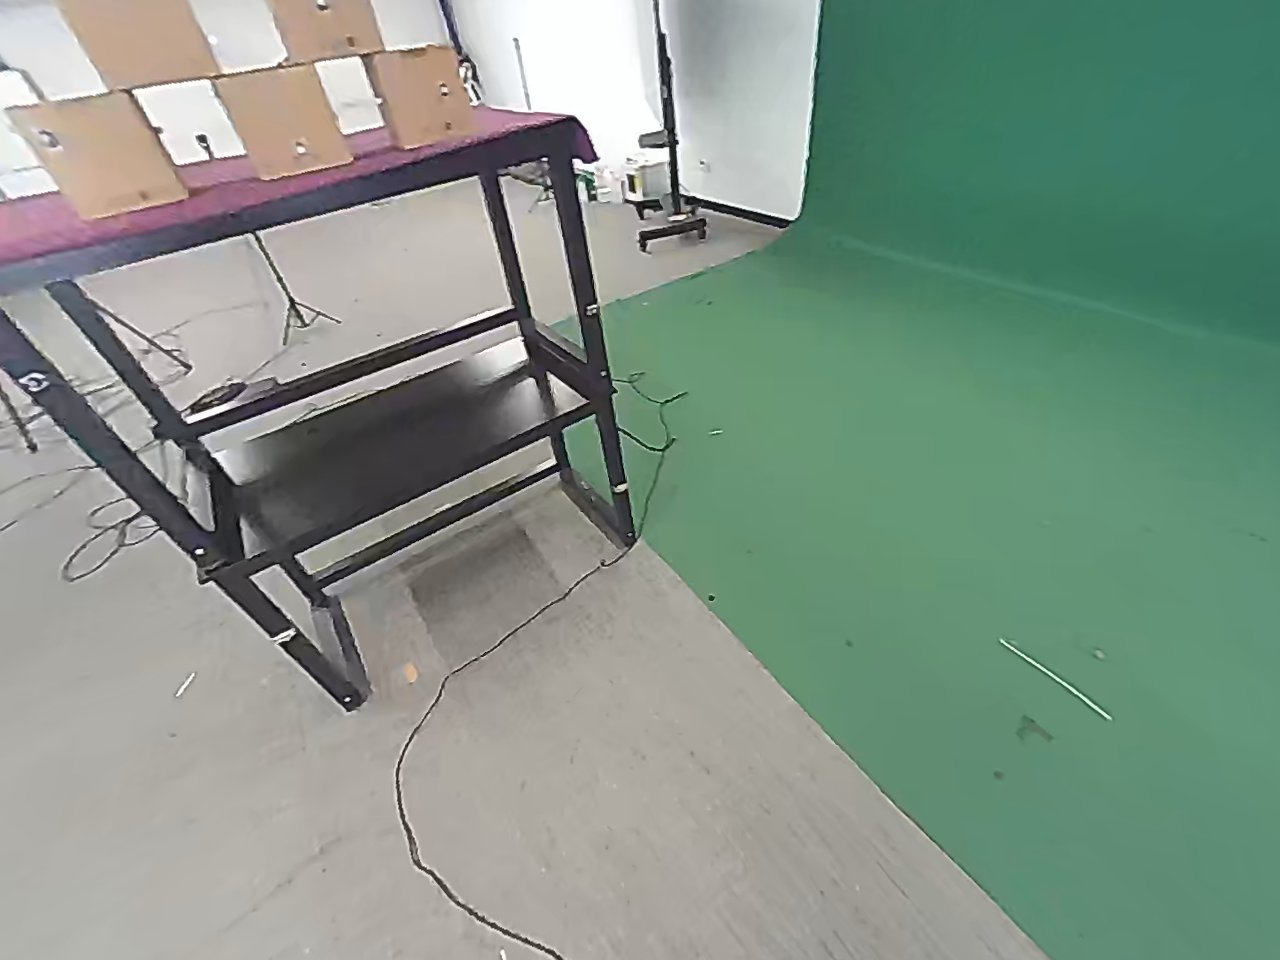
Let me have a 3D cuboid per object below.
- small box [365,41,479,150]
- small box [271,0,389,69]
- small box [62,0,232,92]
[{"bbox_3d":[-0.471,-0.835,1.181,0.168,0.176,0.179,-25,42,-18],"label":"small box"},{"bbox_3d":[-0.602,-0.903,1.031,0.168,0.176,0.179,-25,43,-19],"label":"small box"},{"bbox_3d":[-0.841,-0.774,0.921,0.179,0.176,0.168,-26,43,-21],"label":"small box"}]
